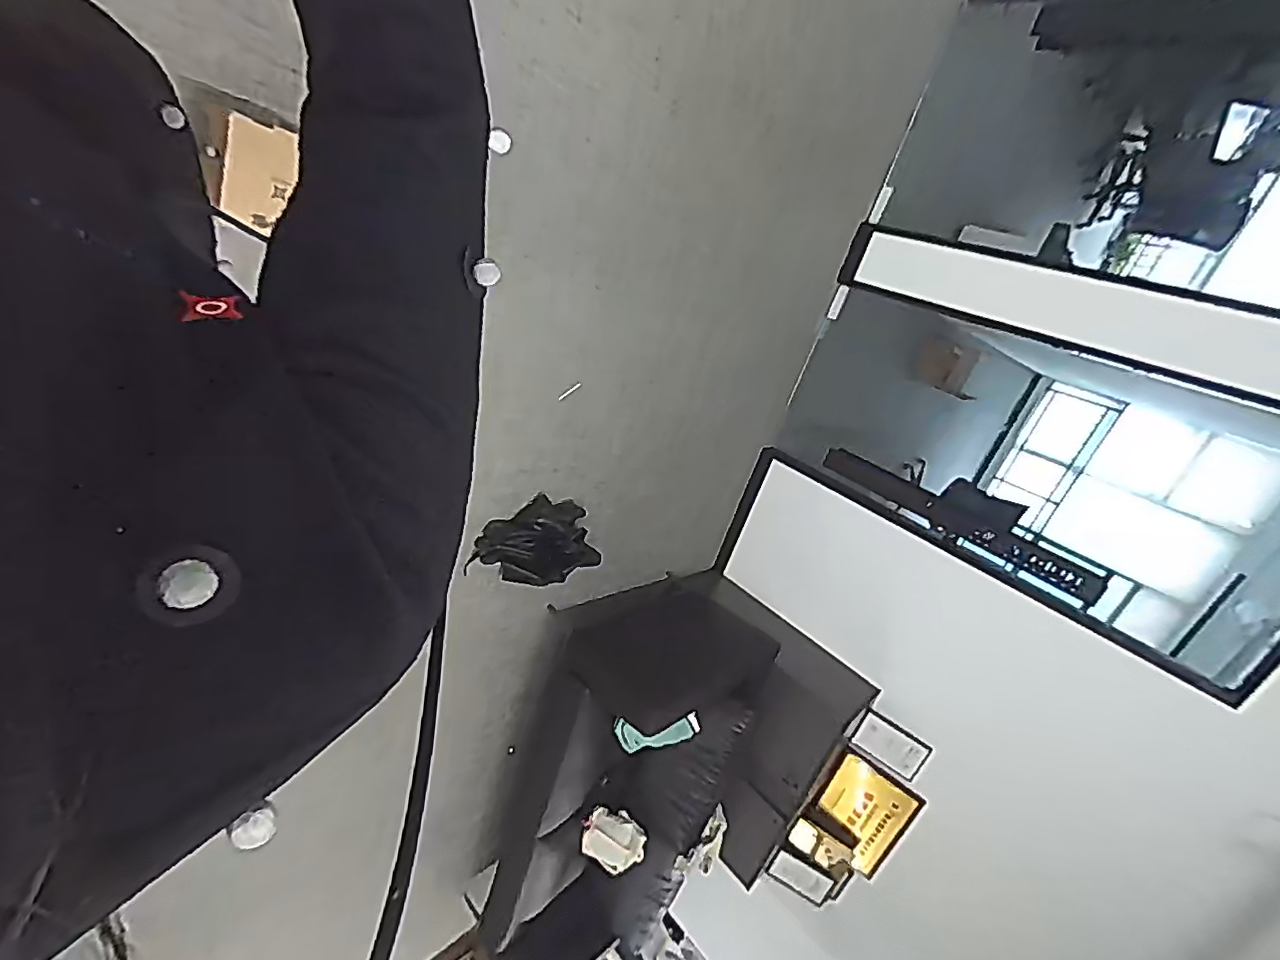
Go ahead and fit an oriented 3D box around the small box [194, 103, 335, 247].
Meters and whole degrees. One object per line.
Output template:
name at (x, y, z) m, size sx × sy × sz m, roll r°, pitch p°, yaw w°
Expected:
small box at (-0.684, -0.552, 0.981) m, size 0.168 × 0.176 × 0.179 m, roll -1°, pitch 118°, yaw -50°
